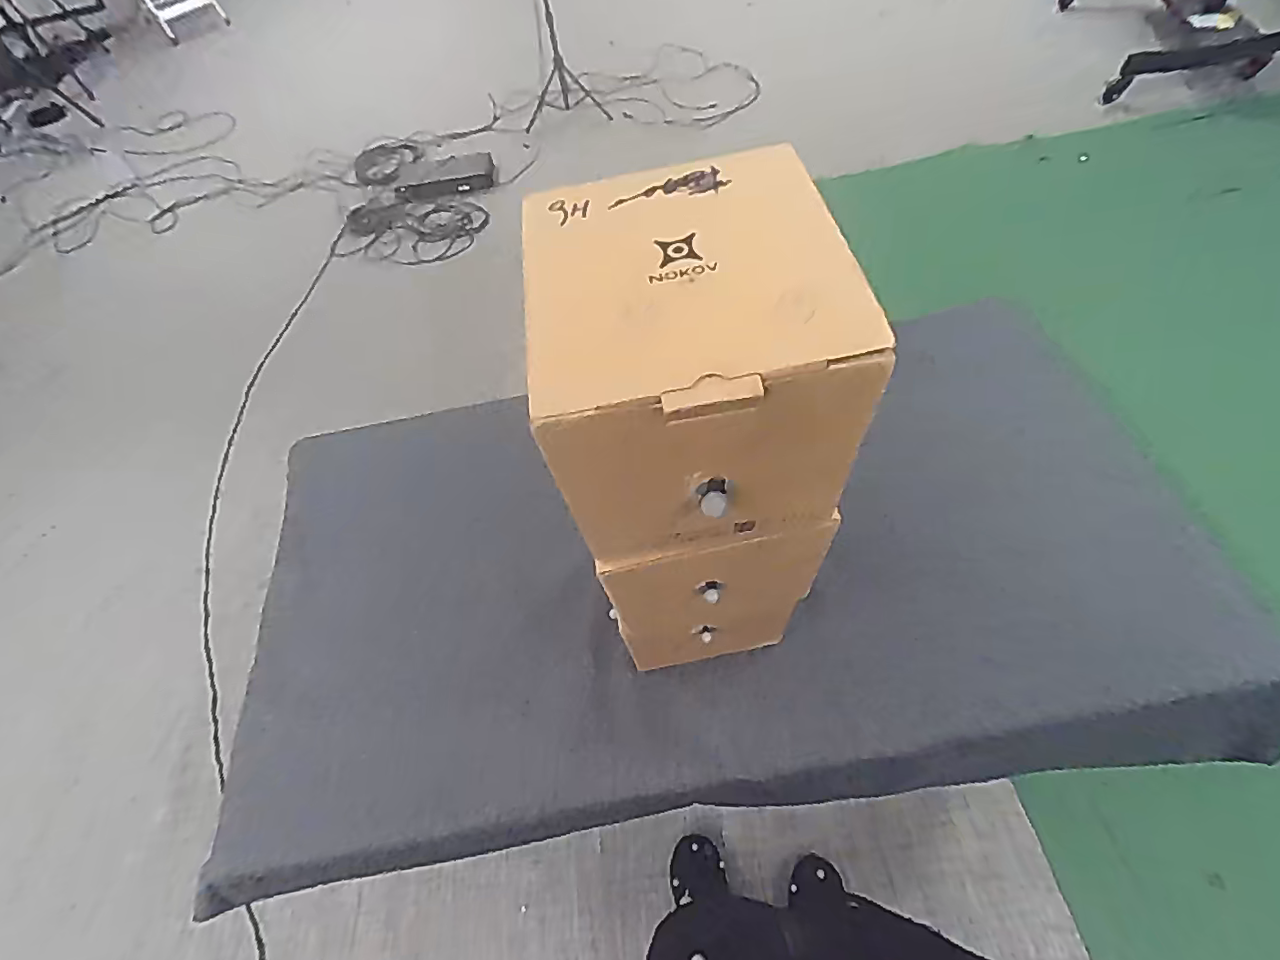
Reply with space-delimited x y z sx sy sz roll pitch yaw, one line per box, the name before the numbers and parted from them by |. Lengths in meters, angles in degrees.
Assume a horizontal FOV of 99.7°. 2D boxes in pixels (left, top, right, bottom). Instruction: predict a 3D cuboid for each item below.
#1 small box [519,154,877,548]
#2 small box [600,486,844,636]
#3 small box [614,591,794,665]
small box | 0.027 -0.067 0.351 0.168 0.176 0.179 -9 59 3
small box | 0.051 0.023 0.486 0.179 0.176 0.168 -15 59 -2
small box | 0.061 0.104 0.629 0.179 0.176 0.168 -11 59 0
